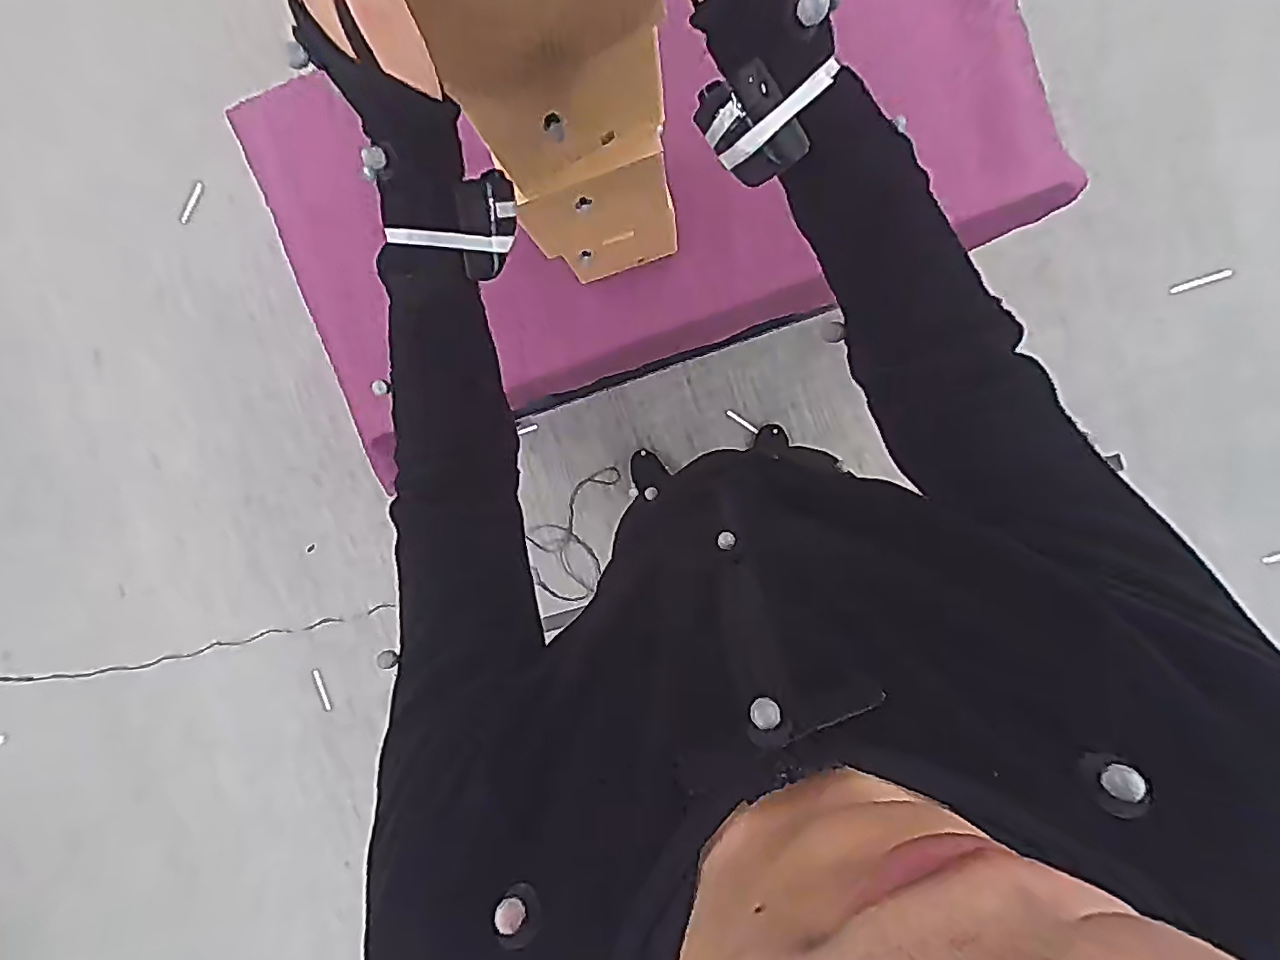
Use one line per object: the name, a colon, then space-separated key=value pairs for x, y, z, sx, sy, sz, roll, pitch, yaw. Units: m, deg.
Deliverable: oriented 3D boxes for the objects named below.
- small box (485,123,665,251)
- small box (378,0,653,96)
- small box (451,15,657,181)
small box: x=-0.077 y=-0.397 z=0.639 sx=0.179 sy=0.176 sz=0.168 roll=-17 pitch=94 yaw=6
small box: x=-0.097 y=-0.375 z=0.314 sx=0.179 sy=0.176 sz=0.168 roll=-19 pitch=93 yaw=6
small box: x=-0.093 y=-0.401 z=0.477 sx=0.168 sy=0.176 sz=0.179 roll=-24 pitch=91 yaw=7
